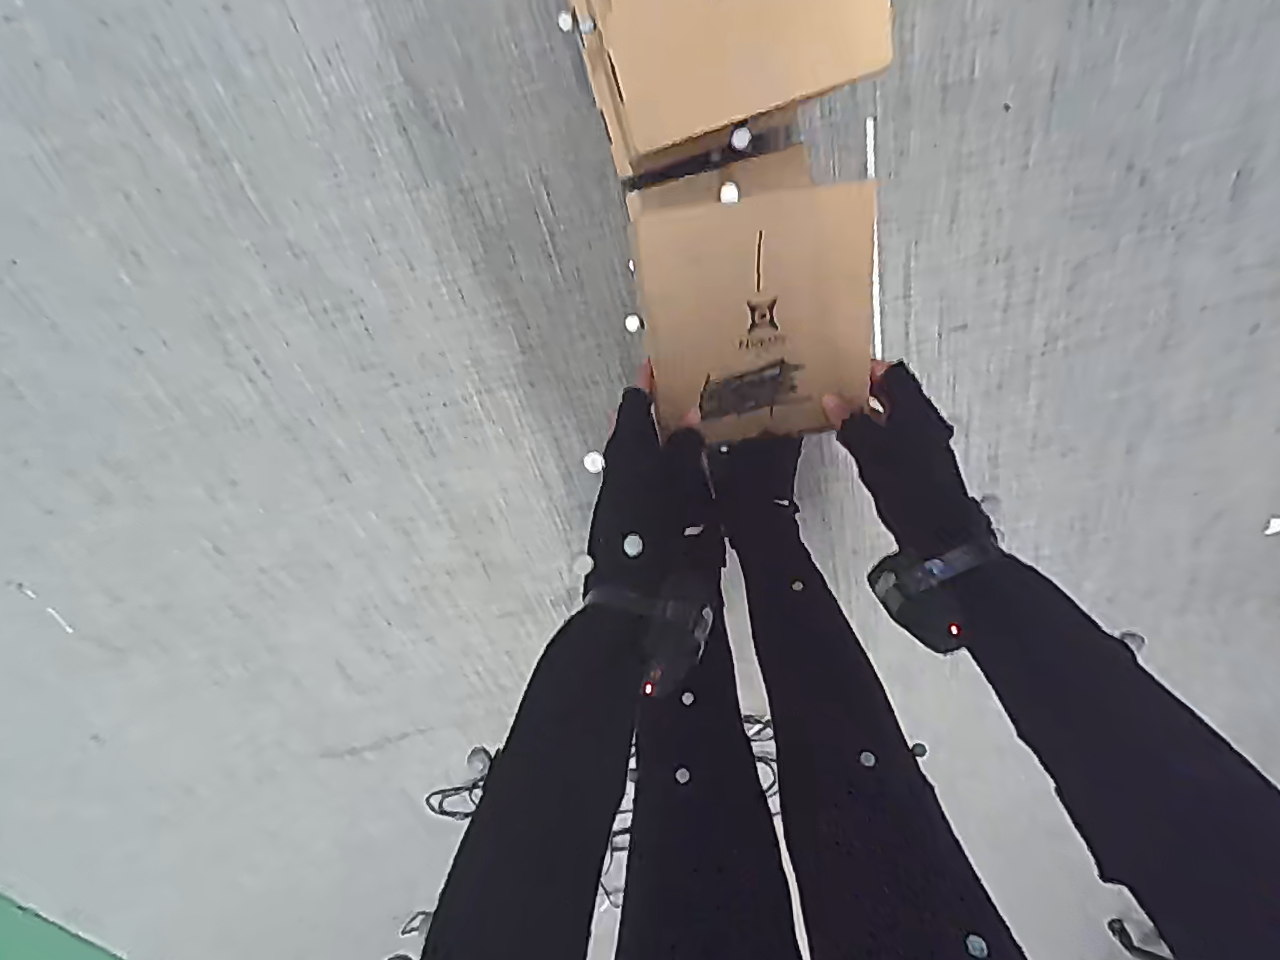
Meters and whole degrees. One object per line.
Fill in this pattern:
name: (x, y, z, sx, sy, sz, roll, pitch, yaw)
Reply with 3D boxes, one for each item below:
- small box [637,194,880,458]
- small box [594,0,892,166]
small box: (0.088, -0.135, 0.472, 0.168, 0.176, 0.179, -7, 111, 0)
small box: (0.059, -0.348, 0.396, 0.179, 0.176, 0.168, -15, 119, 9)
